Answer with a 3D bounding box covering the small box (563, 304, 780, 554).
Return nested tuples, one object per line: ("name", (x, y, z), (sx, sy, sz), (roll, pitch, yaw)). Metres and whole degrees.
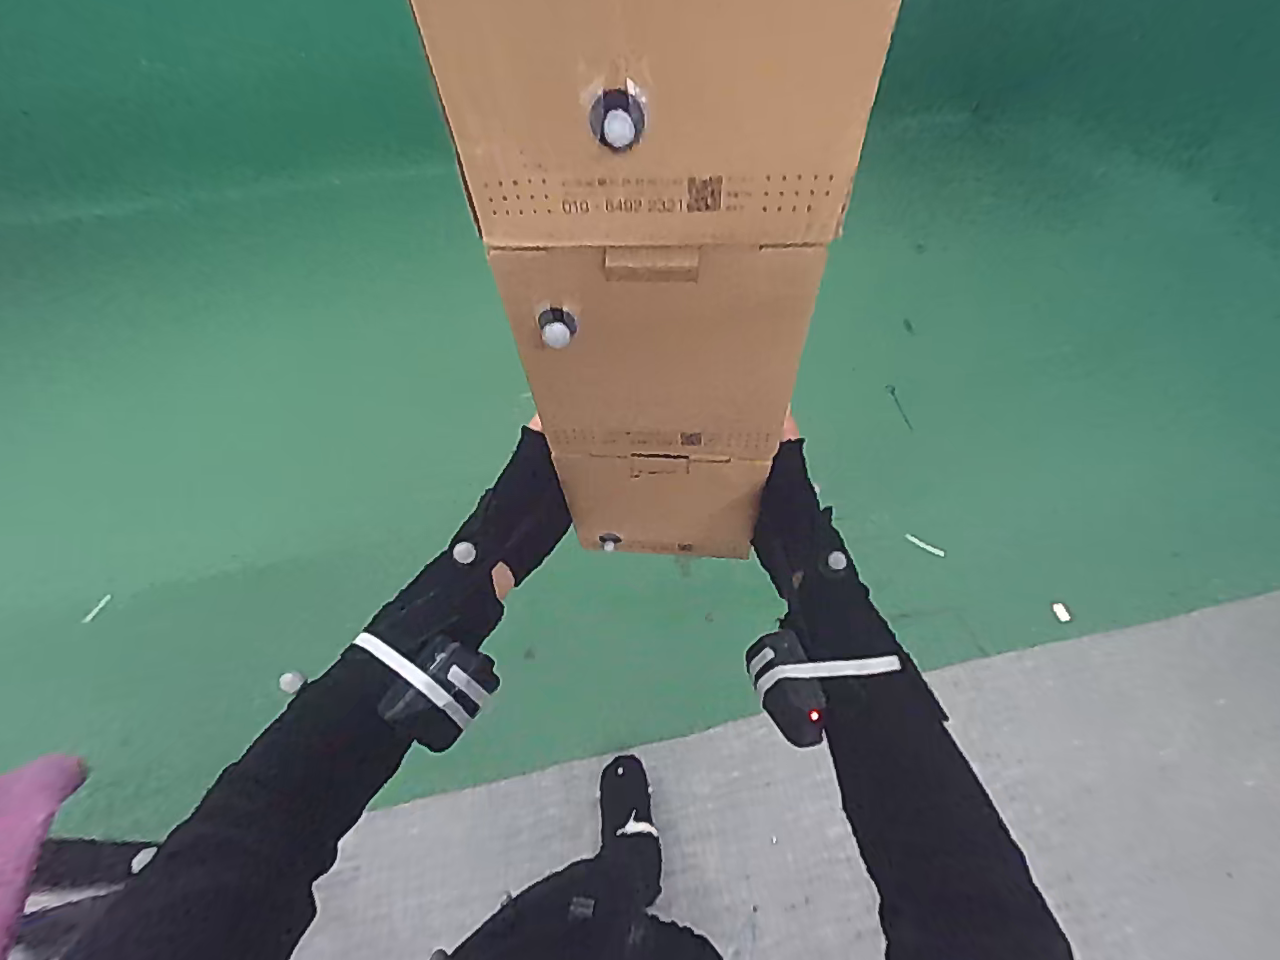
("small box", (0.031, -0.040, 0.510), (0.168, 0.176, 0.179), (0, 58, 3))
